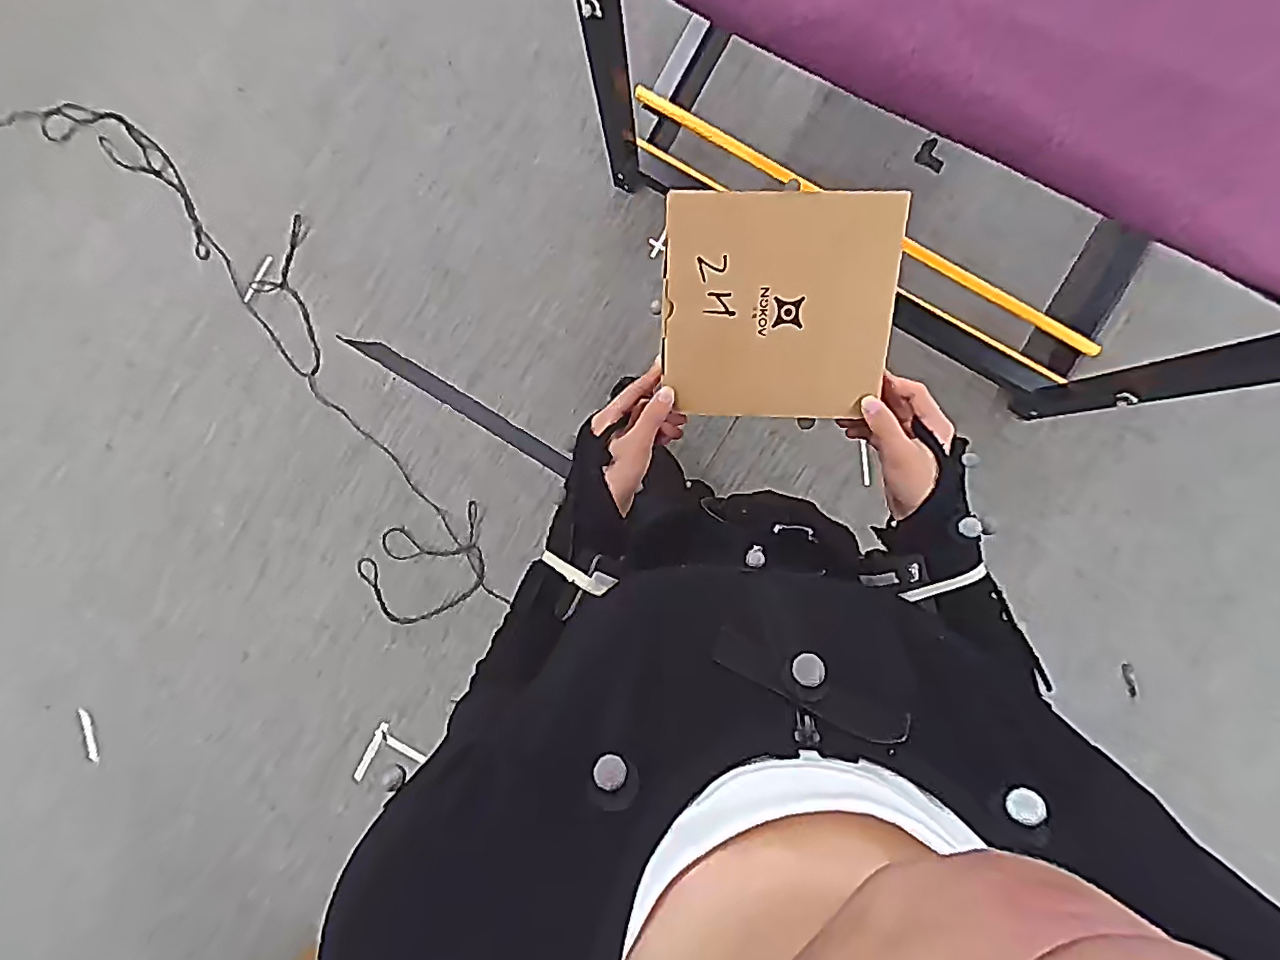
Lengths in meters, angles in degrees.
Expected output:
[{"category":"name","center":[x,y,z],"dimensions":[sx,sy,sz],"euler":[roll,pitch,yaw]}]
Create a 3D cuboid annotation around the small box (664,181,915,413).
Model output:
[{"category":"small box","center":[0.113,-0.161,0.490],"dimensions":[0.179,0.176,0.168],"euler":[3,108,4]}]
